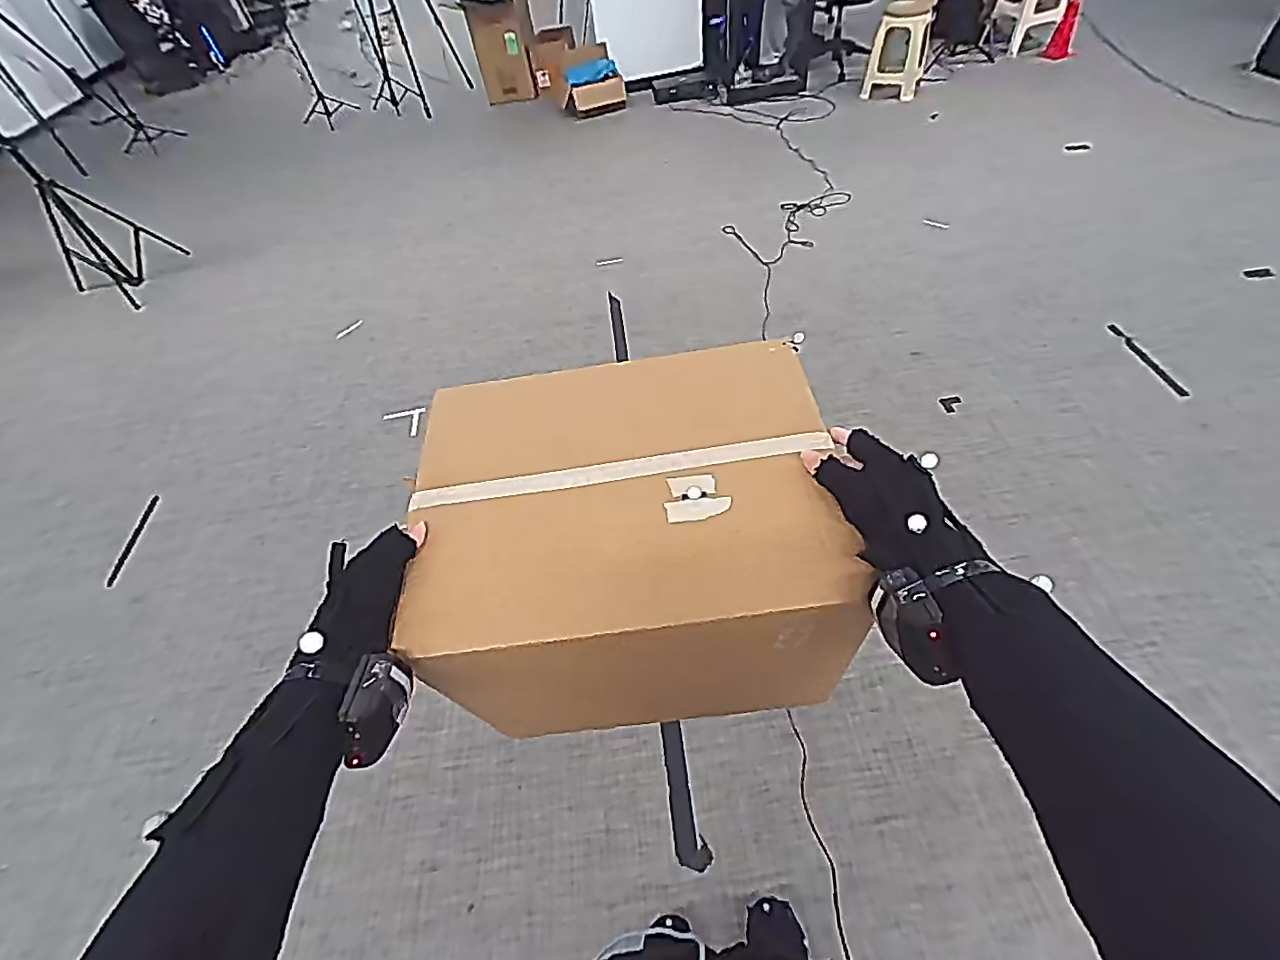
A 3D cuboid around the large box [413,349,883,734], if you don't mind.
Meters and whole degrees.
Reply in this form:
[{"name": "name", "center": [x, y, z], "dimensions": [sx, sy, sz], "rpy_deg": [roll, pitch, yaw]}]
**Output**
[{"name": "large box", "center": [0.005, 0.086, 0.652], "dimensions": [0.408, 0.320, 0.320], "rpy_deg": [-8, 53, 2]}]
